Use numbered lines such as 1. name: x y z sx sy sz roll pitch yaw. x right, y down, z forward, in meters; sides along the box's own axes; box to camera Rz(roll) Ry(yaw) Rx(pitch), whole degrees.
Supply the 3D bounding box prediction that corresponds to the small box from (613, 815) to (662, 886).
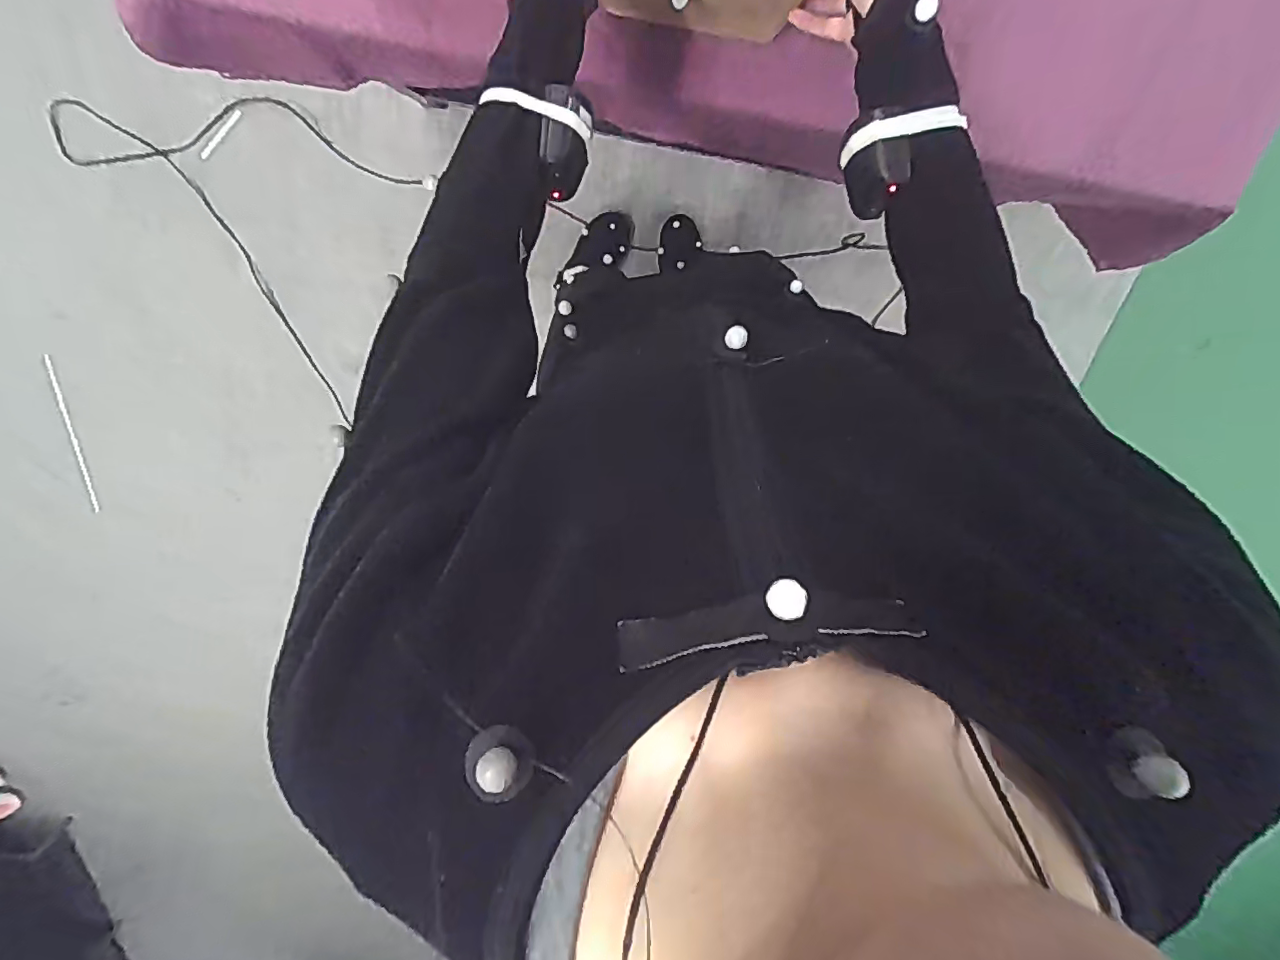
1. small box: -0.013 1.489 2.174 0.168 0.176 0.179 9 115 -6
